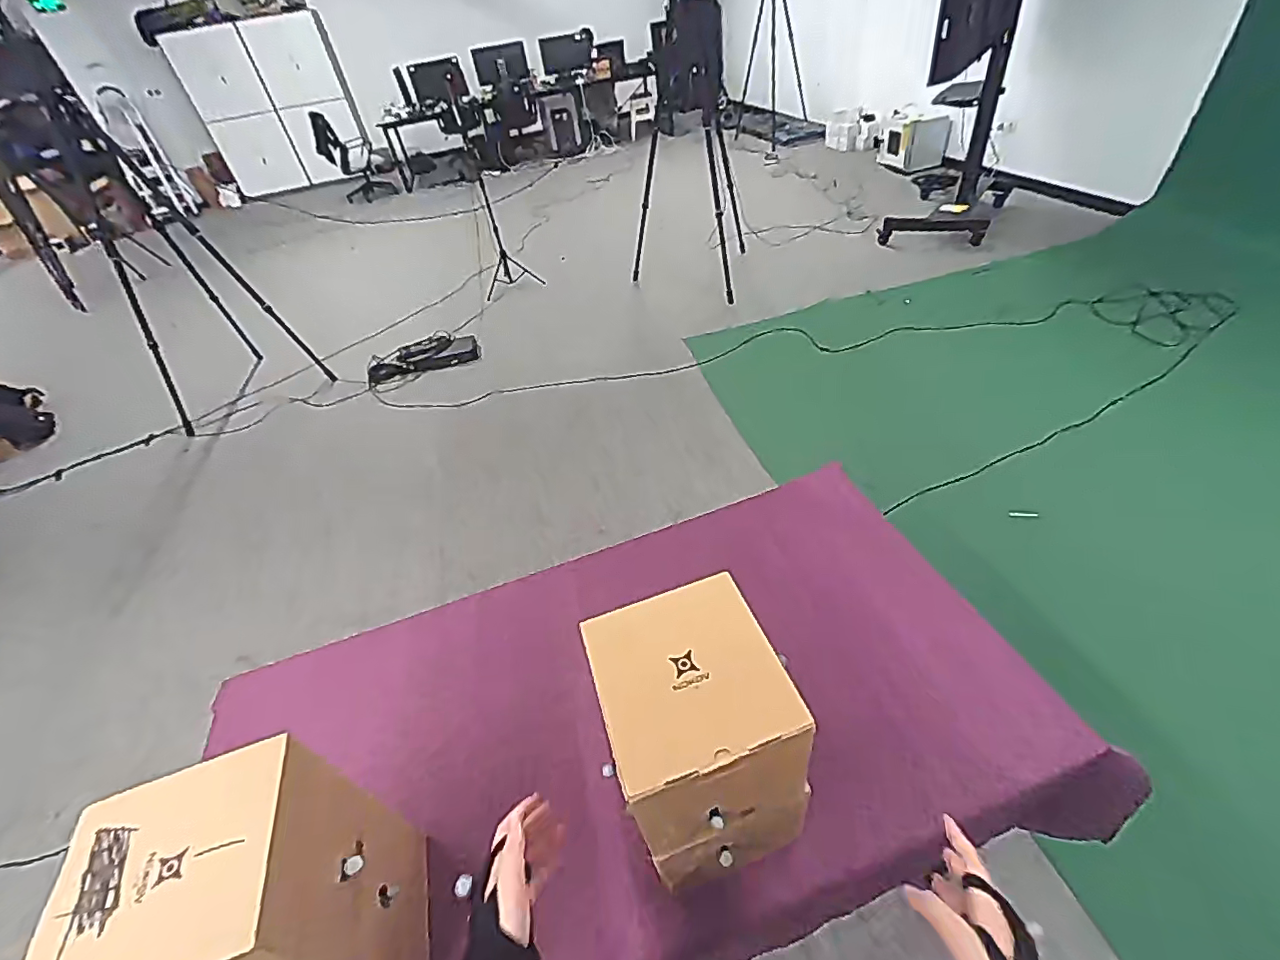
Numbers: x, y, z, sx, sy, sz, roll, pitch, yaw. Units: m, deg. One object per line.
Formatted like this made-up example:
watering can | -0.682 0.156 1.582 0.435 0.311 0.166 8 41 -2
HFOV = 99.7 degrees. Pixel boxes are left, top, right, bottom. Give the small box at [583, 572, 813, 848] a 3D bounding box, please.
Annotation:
small box | 0.052 0.230 0.550 0.168 0.176 0.179 -18 43 -8

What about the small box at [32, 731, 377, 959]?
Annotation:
small box | -0.366 0.368 0.487 0.179 0.176 0.168 -18 42 -9

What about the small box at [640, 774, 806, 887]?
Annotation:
small box | 0.081 0.353 0.654 0.179 0.176 0.168 -20 43 -8

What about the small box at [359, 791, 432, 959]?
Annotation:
small box | -0.342 0.488 0.597 0.168 0.176 0.179 -18 42 -8
